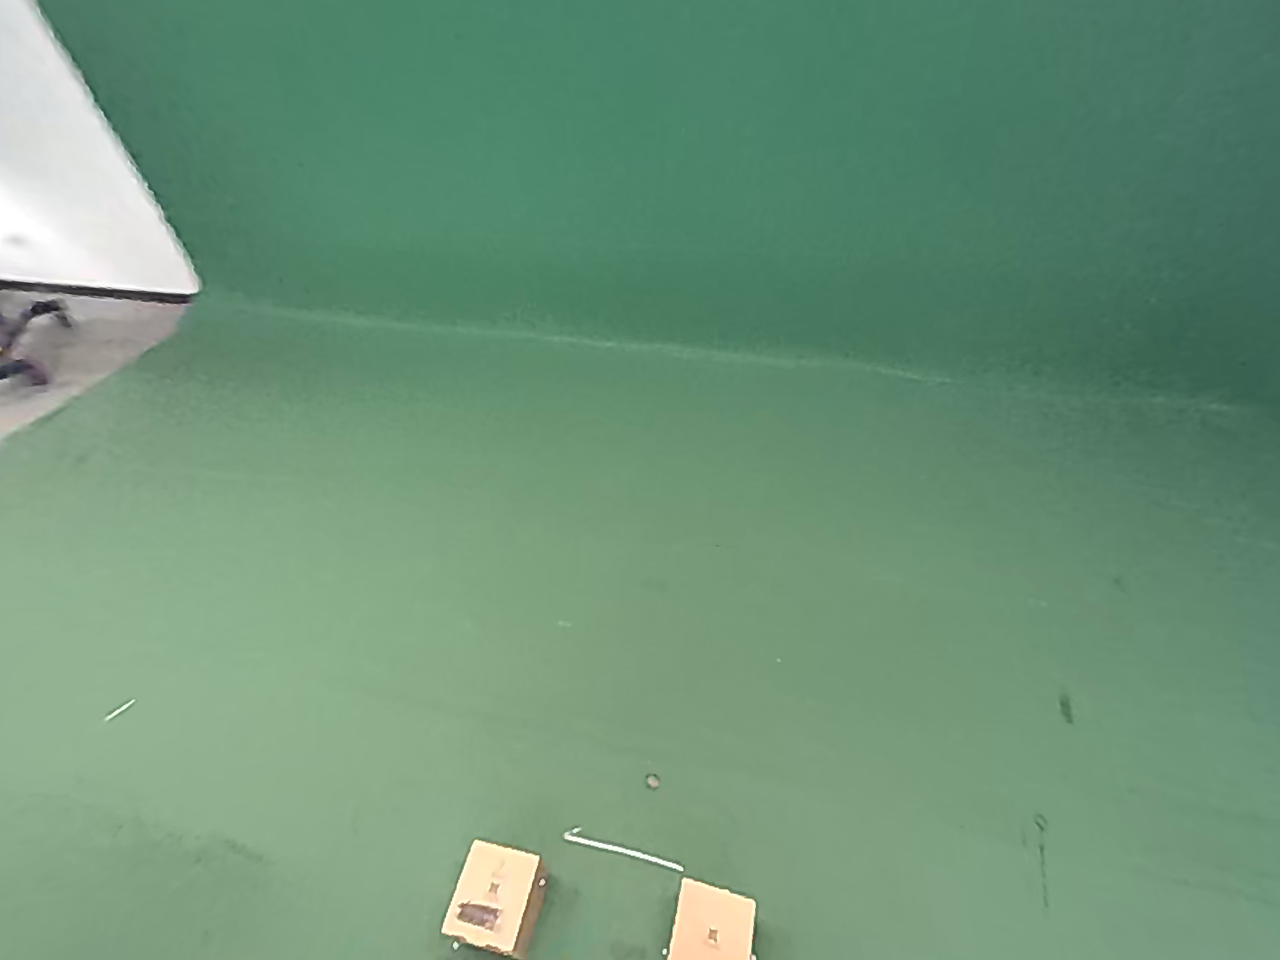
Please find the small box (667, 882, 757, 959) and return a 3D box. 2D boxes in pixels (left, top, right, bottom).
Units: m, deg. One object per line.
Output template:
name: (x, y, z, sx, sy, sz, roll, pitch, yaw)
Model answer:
small box: (0.152, 1.025, 1.184, 0.168, 0.176, 0.179, 11, 46, 12)
